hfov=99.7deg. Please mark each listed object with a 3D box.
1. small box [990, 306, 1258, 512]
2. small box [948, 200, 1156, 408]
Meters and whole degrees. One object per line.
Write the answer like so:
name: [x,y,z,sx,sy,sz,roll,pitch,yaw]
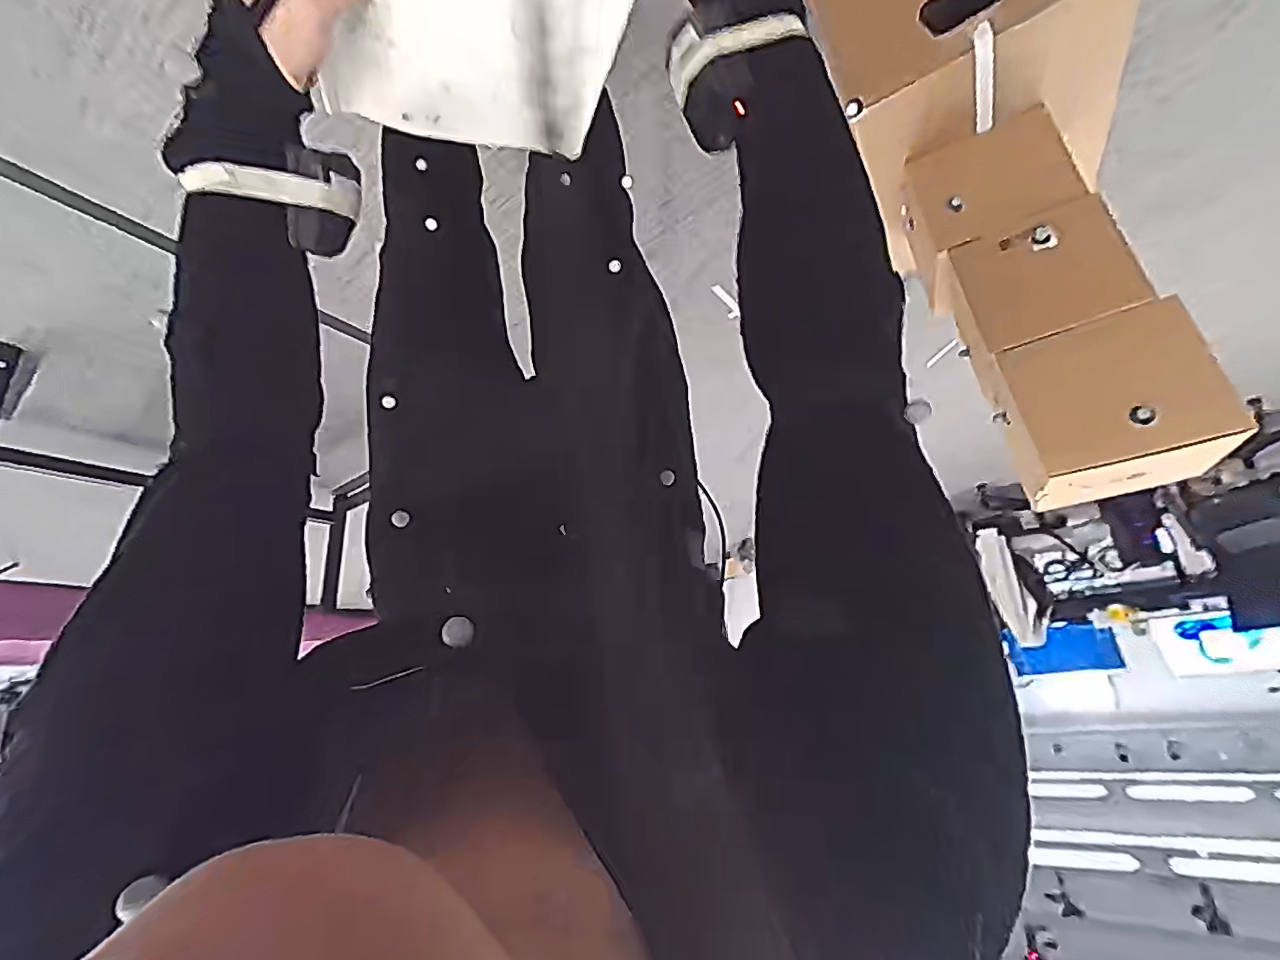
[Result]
small box: [0.555,-0.077,0.654,0.179,0.176,0.168,-17,155,26]
small box: [0.530,-0.226,0.723,0.168,0.176,0.179,-19,154,27]
